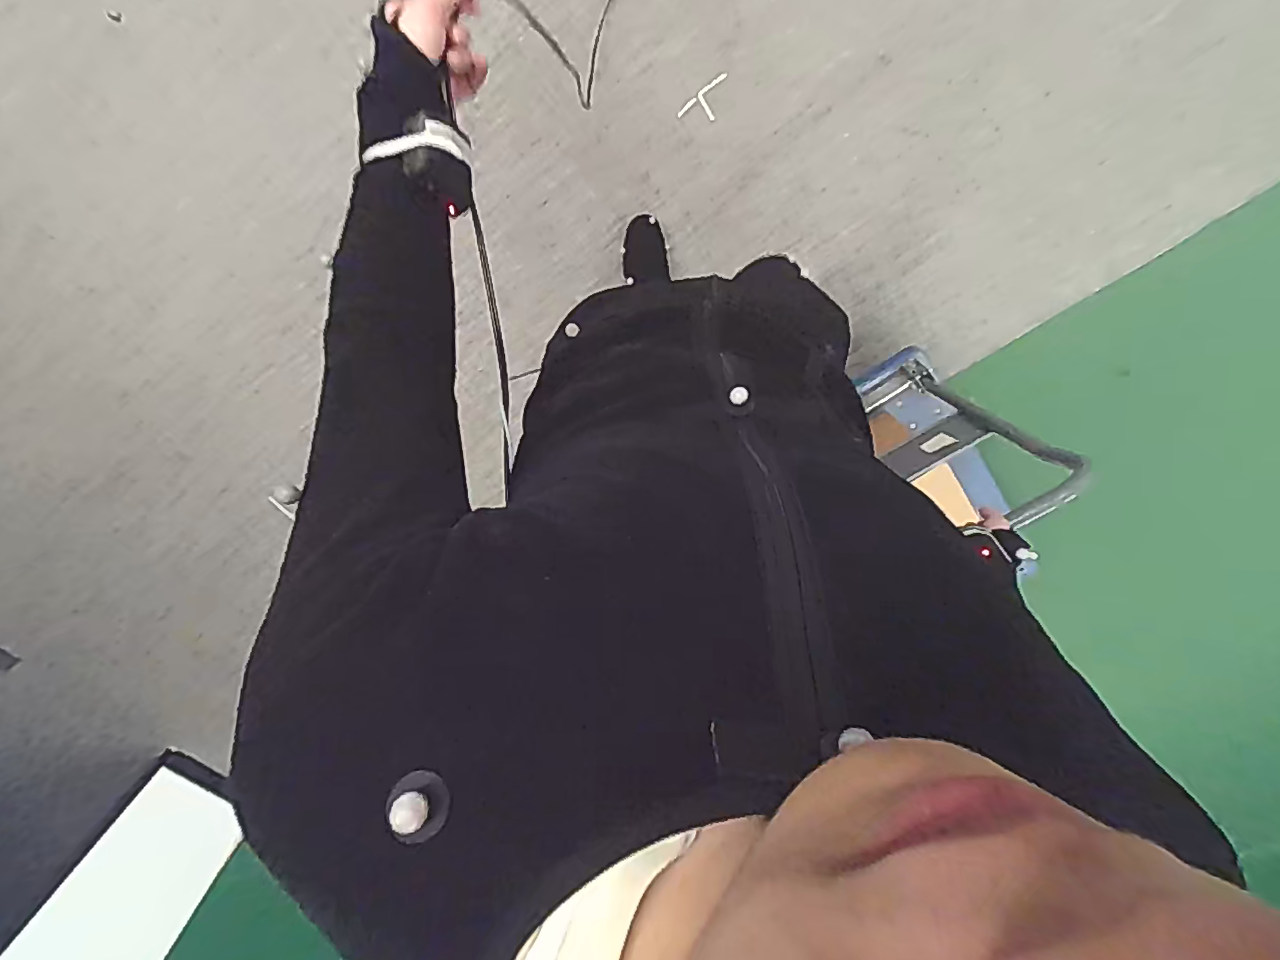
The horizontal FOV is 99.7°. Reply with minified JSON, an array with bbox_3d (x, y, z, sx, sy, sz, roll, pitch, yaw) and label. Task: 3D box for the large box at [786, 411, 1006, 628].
[{"bbox_3d":[0.647,0.097,1.414,0.320,0.320,0.408,-35,113,17],"label":"large box"}]
